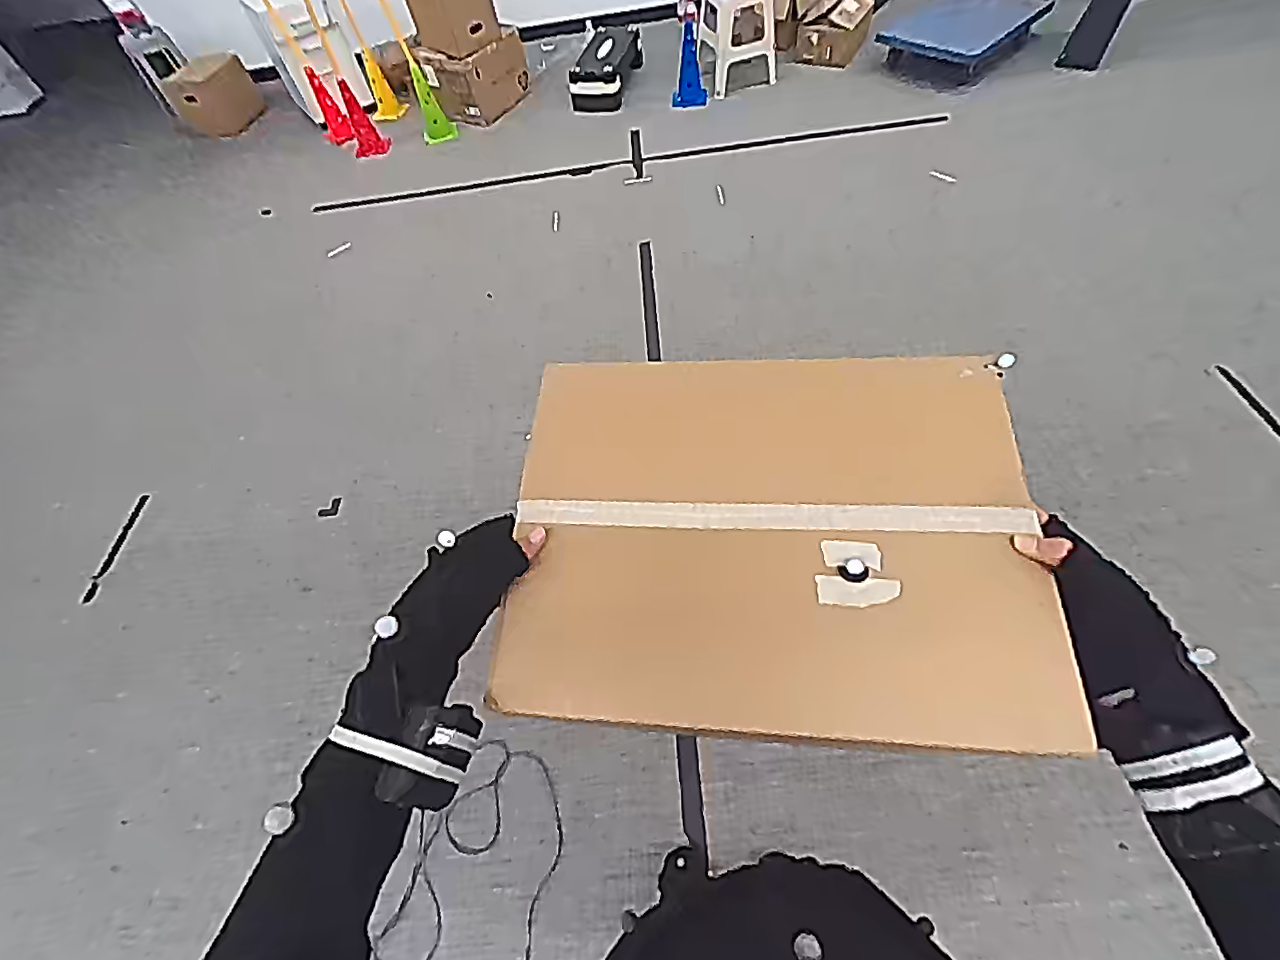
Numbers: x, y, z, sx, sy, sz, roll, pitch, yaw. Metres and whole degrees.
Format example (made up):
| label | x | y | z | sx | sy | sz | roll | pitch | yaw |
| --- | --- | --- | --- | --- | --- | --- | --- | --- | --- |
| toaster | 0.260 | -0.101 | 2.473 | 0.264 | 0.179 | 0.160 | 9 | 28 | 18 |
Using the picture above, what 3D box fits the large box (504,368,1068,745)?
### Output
| label | x | y | z | sx | sy | sz | roll | pitch | yaw |
| --- | --- | --- | --- | --- | --- | --- | --- | --- | --- |
| large box | 0.115 | 0.103 | 0.582 | 0.408 | 0.320 | 0.320 | 0 | 64 | 8 |
